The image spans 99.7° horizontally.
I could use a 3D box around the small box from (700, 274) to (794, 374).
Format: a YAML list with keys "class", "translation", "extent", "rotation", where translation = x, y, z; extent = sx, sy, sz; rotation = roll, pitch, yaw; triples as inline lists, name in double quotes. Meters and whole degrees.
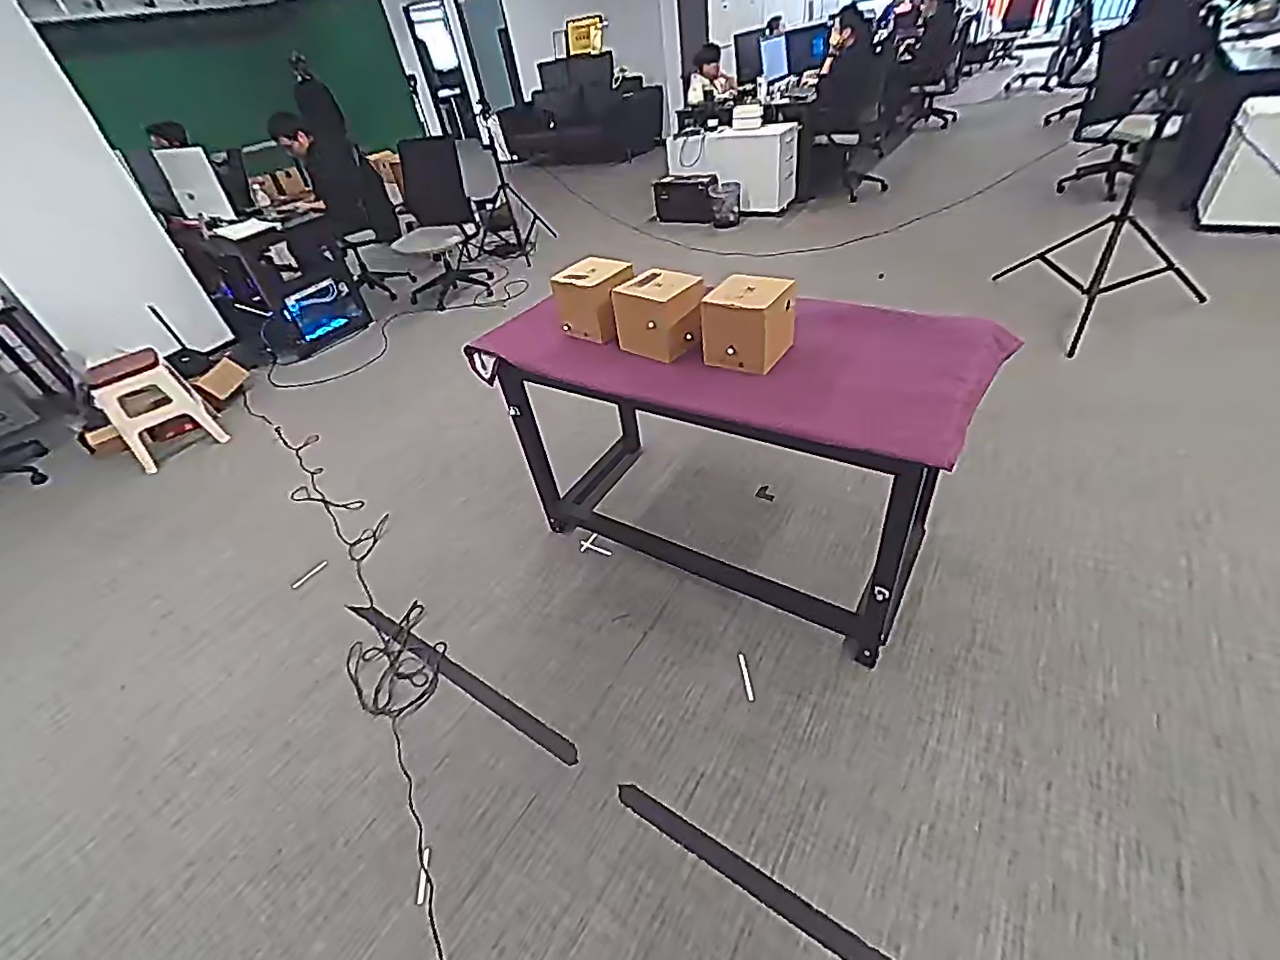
- class: "small box"
  translation: [0.263, -0.385, 1.327]
  extent: [0.168, 0.176, 0.179]
  rotation: [19, 48, 31]

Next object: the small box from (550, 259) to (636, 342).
- class: "small box"
  translation: [-0.128, -0.520, 1.566]
  extent: [0.168, 0.176, 0.179]
  rotation: [23, 51, 33]
